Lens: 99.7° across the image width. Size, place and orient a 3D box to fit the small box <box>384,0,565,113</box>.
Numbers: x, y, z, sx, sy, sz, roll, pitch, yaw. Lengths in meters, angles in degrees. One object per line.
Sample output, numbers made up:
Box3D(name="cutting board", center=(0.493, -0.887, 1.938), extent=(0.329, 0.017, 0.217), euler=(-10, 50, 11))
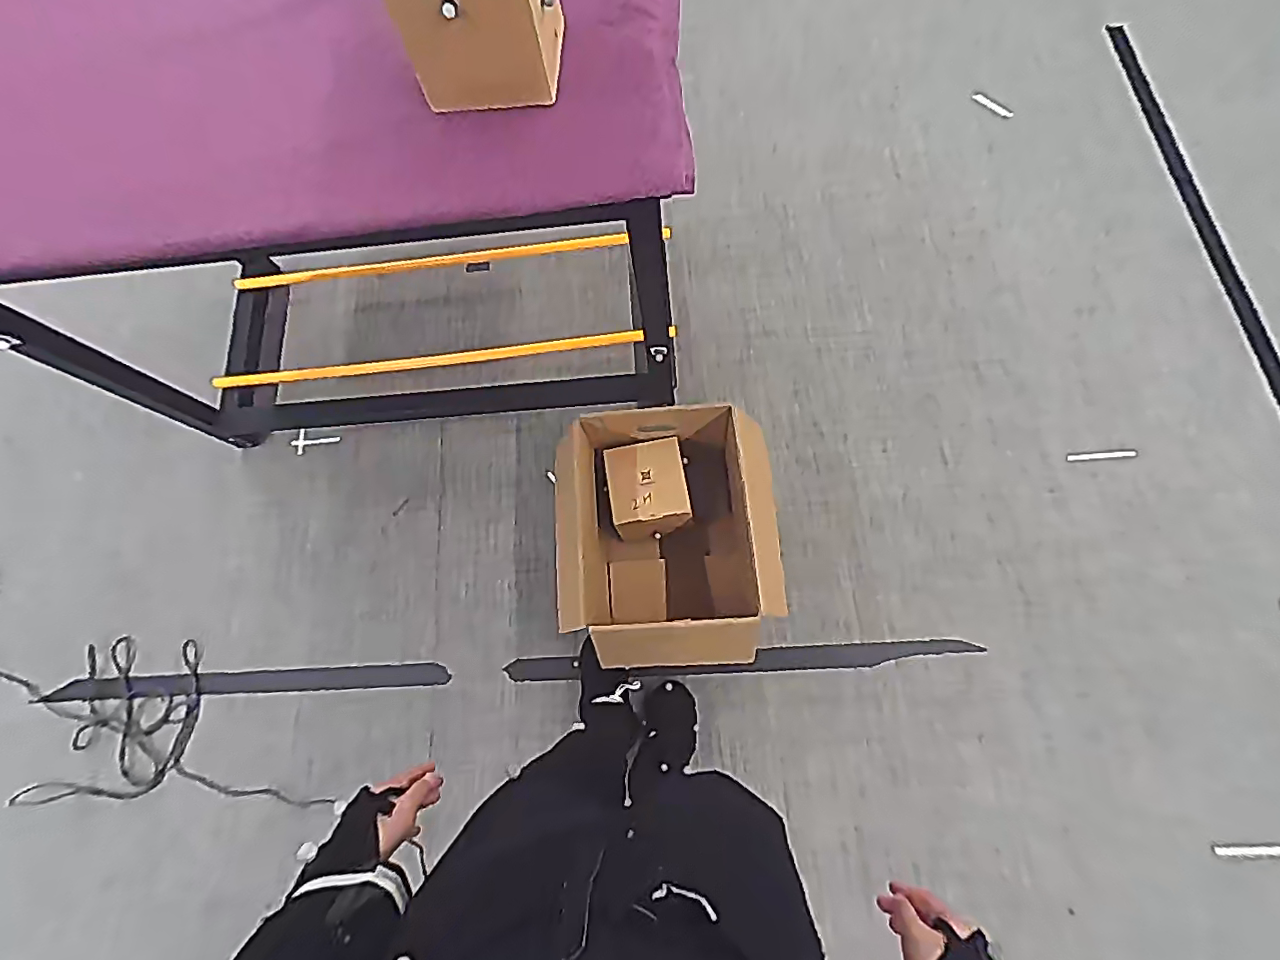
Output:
Box3D(name="small box", center=(-0.201, -0.609, 0.694), extent=(0.179, 0.176, 0.168), euler=(0, 72, 6))
